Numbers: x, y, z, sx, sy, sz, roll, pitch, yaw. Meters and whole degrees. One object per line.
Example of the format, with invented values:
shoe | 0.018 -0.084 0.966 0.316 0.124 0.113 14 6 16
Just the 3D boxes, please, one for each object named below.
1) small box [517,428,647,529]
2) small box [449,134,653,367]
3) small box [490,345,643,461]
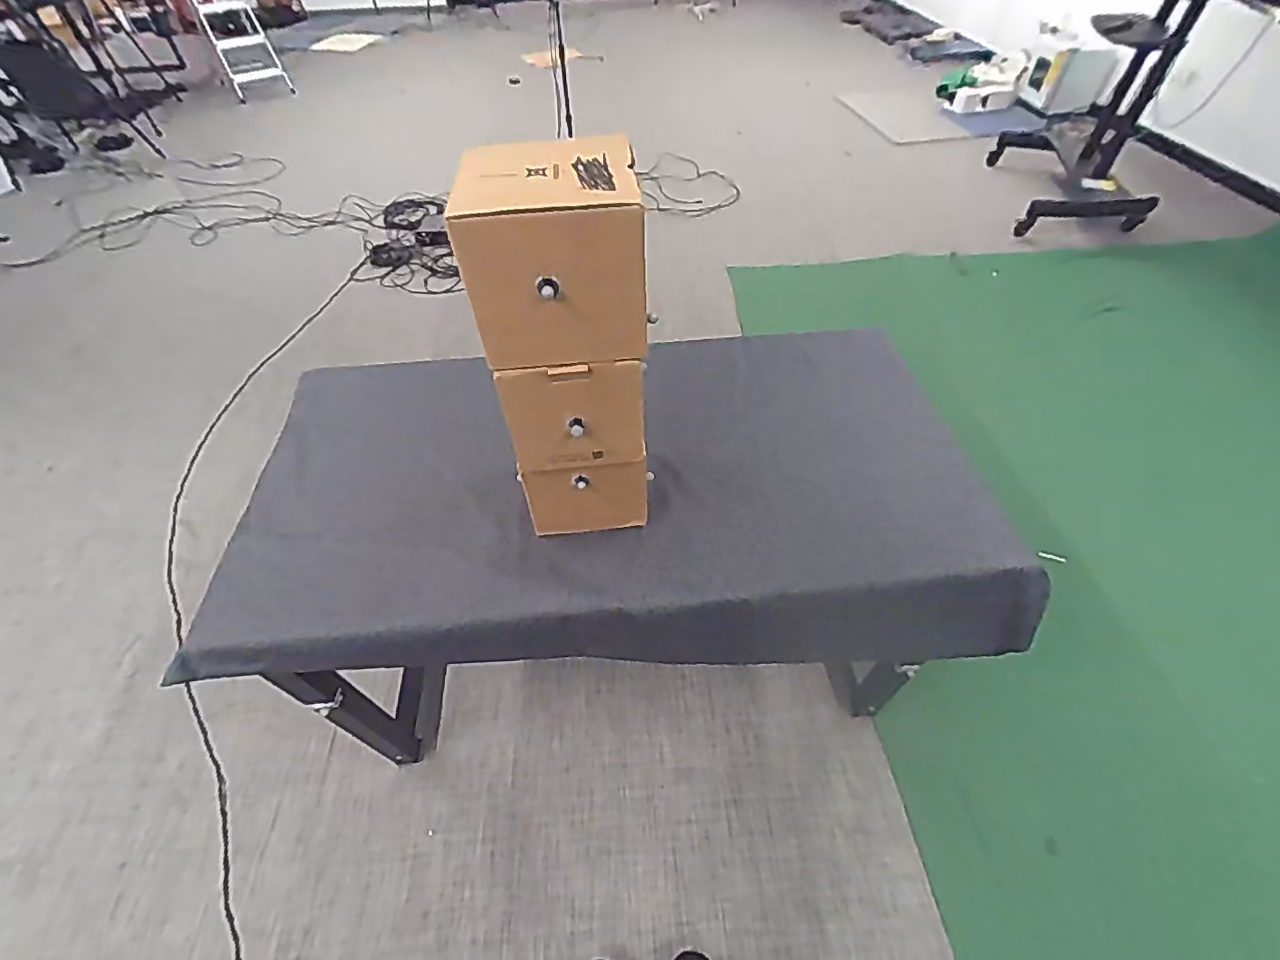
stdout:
small box | -0.084 -0.038 0.832 0.179 0.176 0.168 -5 51 -4
small box | -0.086 -0.239 0.572 0.179 0.176 0.168 -7 51 -5
small box | -0.088 -0.137 0.702 0.168 0.176 0.179 -6 52 -3
